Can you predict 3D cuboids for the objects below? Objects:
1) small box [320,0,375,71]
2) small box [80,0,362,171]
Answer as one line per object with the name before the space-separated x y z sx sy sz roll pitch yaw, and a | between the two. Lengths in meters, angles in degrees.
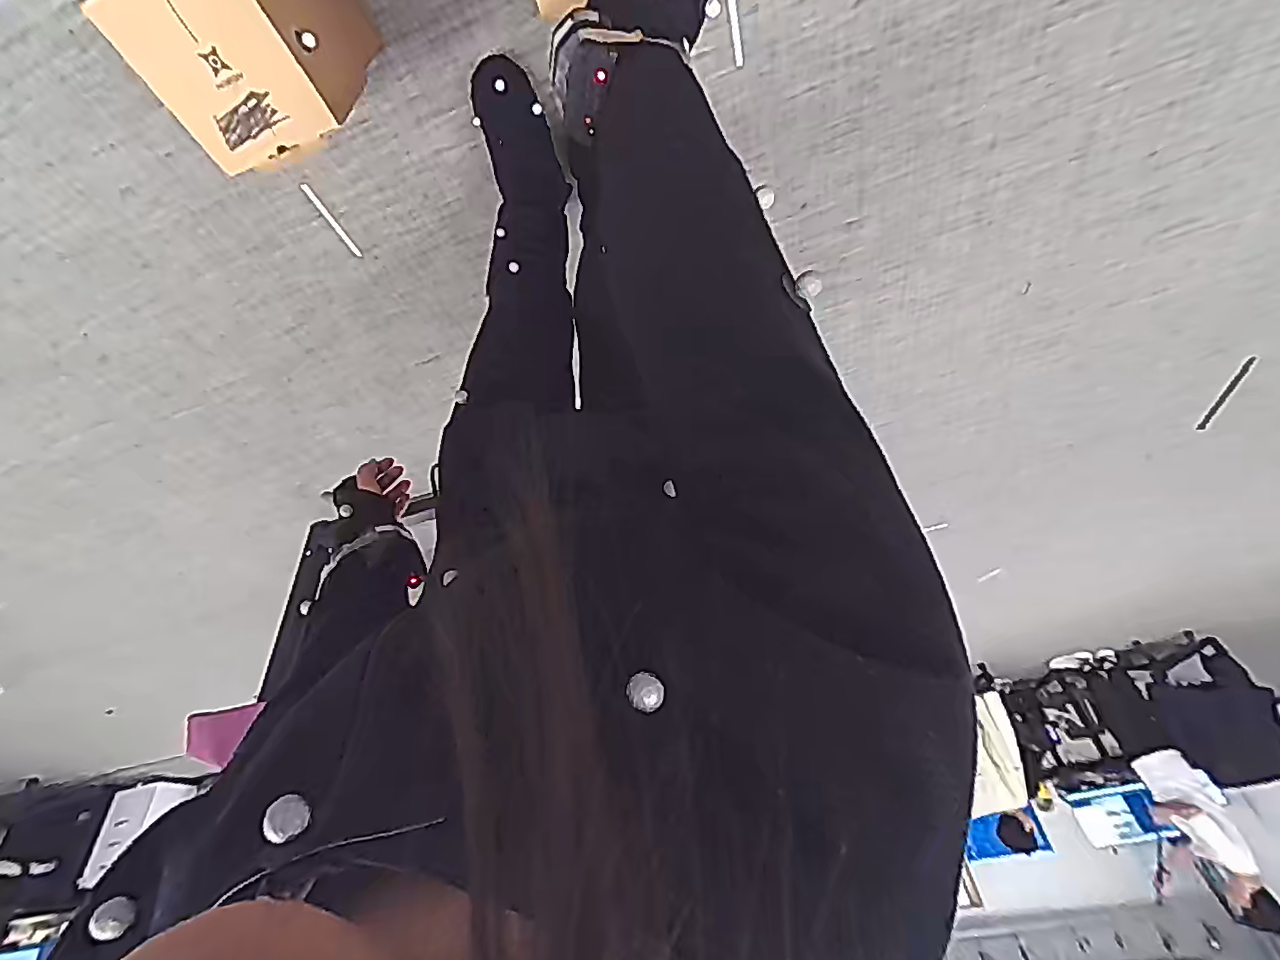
small box | -0.488 -0.639 0.733 0.179 0.176 0.168 -17 142 12
small box | -0.462 -0.510 0.634 0.168 0.176 0.179 -16 141 9
